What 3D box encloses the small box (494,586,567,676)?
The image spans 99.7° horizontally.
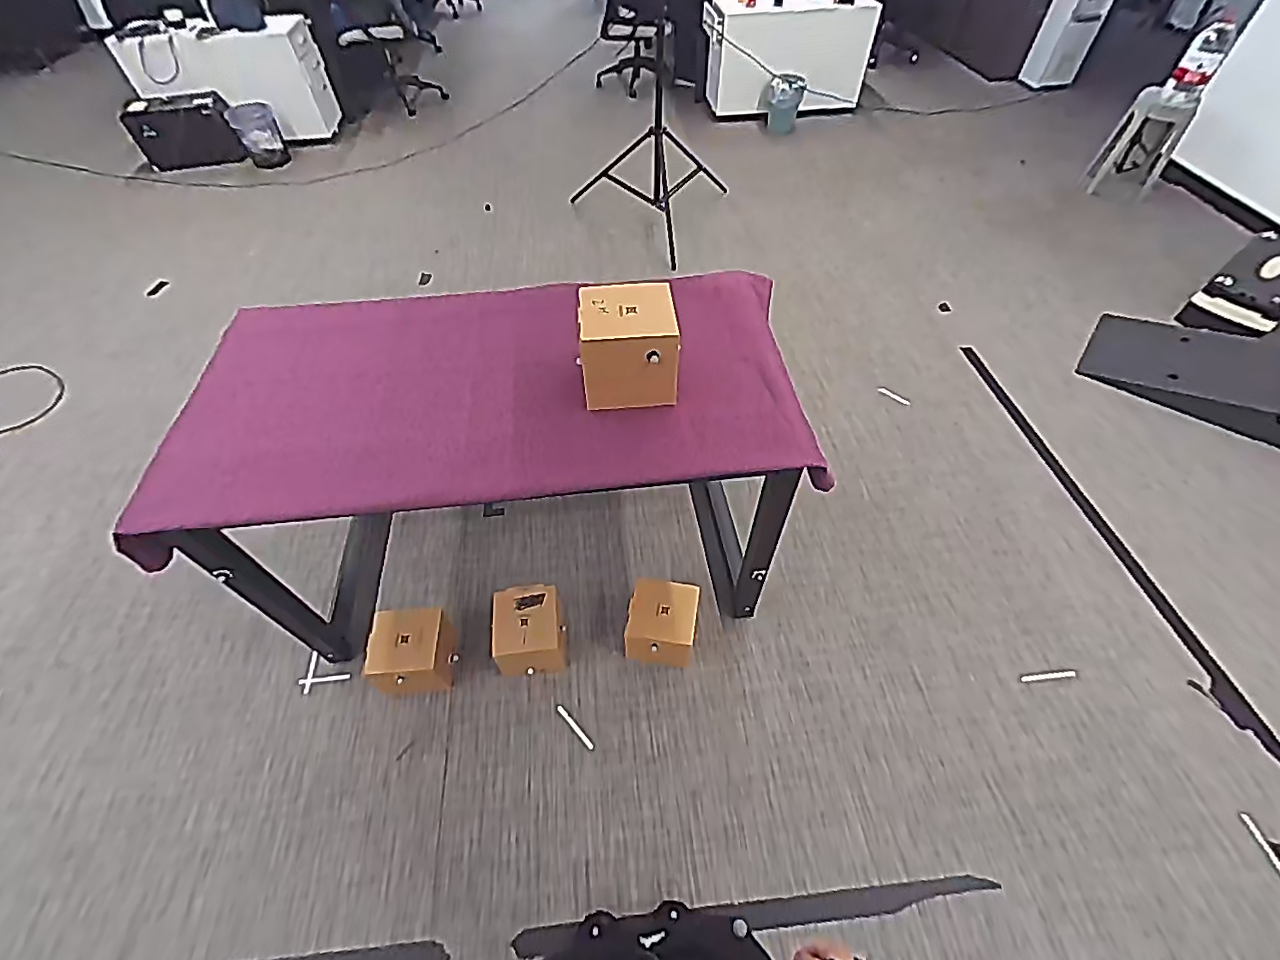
[{"bbox_3d":[-0.290,0.408,1.456,0.168,0.176,0.179,-6,53,-4],"label":"small box"}]

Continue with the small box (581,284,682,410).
[{"bbox_3d":[-0.019,-0.252,1.039,0.179,0.176,0.168,-5,52,-2],"label":"small box"}]

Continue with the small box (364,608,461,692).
[{"bbox_3d":[-0.591,0.453,1.429,0.179,0.176,0.168,-3,53,-3],"label":"small box"}]

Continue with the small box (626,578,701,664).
[{"bbox_3d":[0.066,0.387,1.467,0.179,0.176,0.168,7,53,8],"label":"small box"}]
